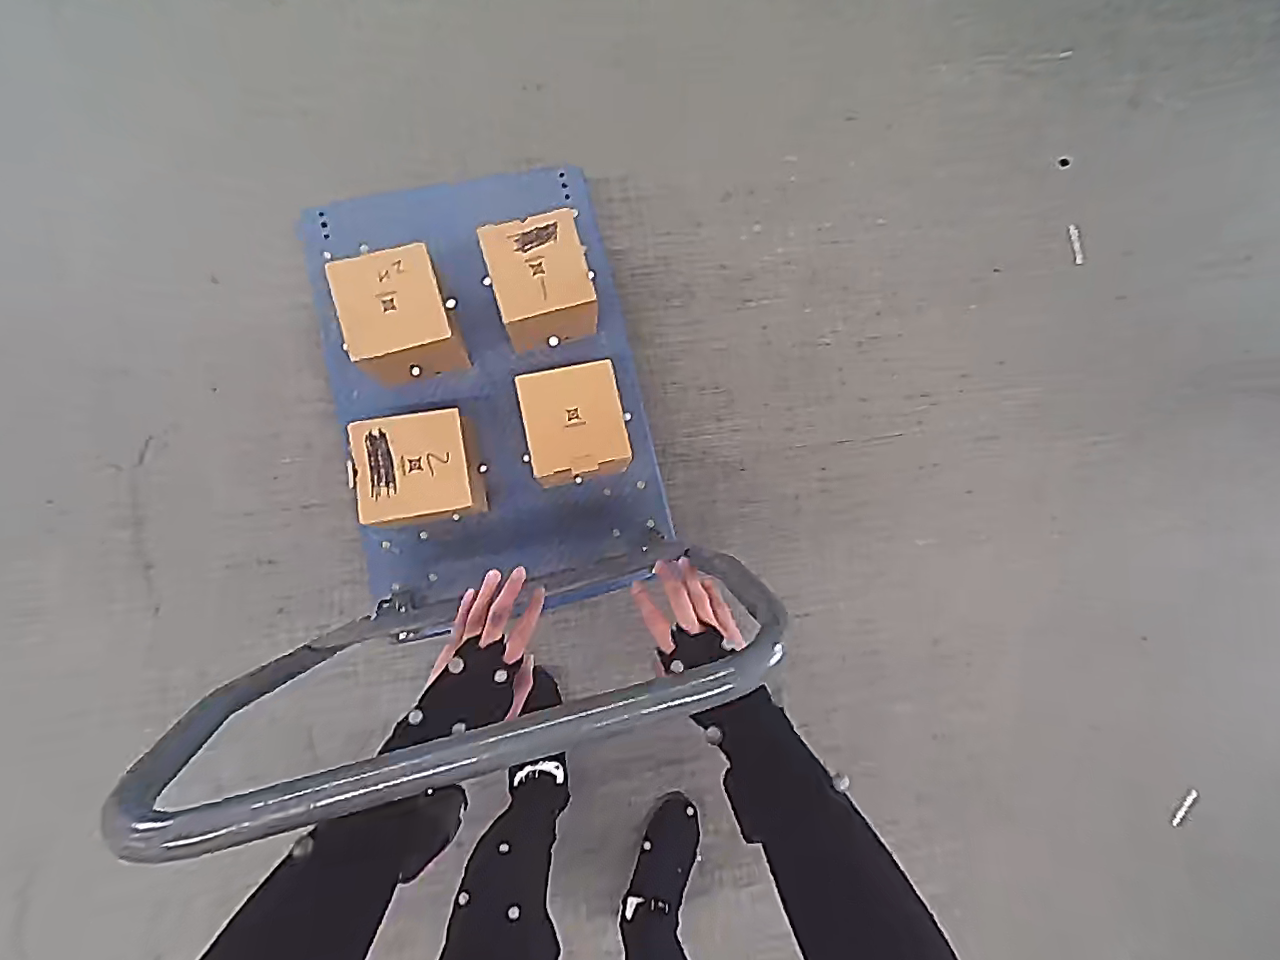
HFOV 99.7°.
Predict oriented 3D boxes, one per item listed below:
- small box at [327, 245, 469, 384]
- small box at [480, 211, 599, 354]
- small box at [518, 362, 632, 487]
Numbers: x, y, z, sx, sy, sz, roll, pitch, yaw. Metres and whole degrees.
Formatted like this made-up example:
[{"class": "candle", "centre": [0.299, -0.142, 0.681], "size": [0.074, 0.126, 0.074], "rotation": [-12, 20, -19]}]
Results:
[{"class": "small box", "centre": [-0.419, -0.283, 0.966], "size": [0.168, 0.176, 0.179], "rotation": [-16, 86, -8]}, {"class": "small box", "centre": [-0.180, -0.355, 0.998], "size": [0.168, 0.176, 0.179], "rotation": [-16, 87, -6]}, {"class": "small box", "centre": [-0.117, -0.093, 0.978], "size": [0.168, 0.176, 0.179], "rotation": [-12, 86, -7]}]
